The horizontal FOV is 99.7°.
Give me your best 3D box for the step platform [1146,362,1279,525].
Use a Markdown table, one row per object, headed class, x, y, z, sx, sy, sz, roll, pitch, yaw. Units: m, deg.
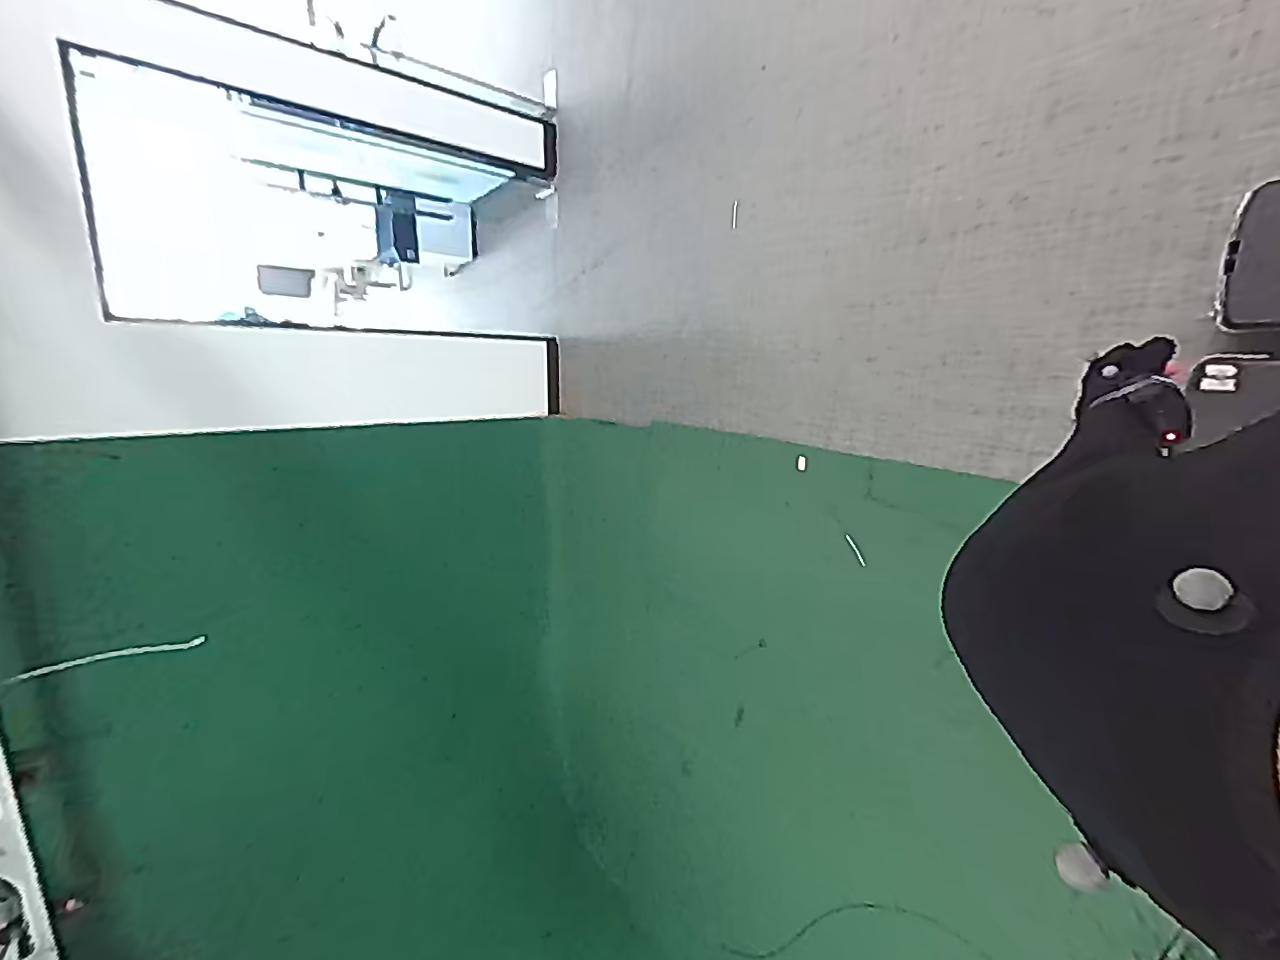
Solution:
| class | x | y | z | sx | sy | sz | roll | pitch | yaw |
| --- | --- | --- | --- | --- | --- | --- | --- | --- | --- |
| step platform | 1.219 | -0.024 | 0.787 | 0.684 | 0.204 | 0.286 | 15 | 108 | 49 |
